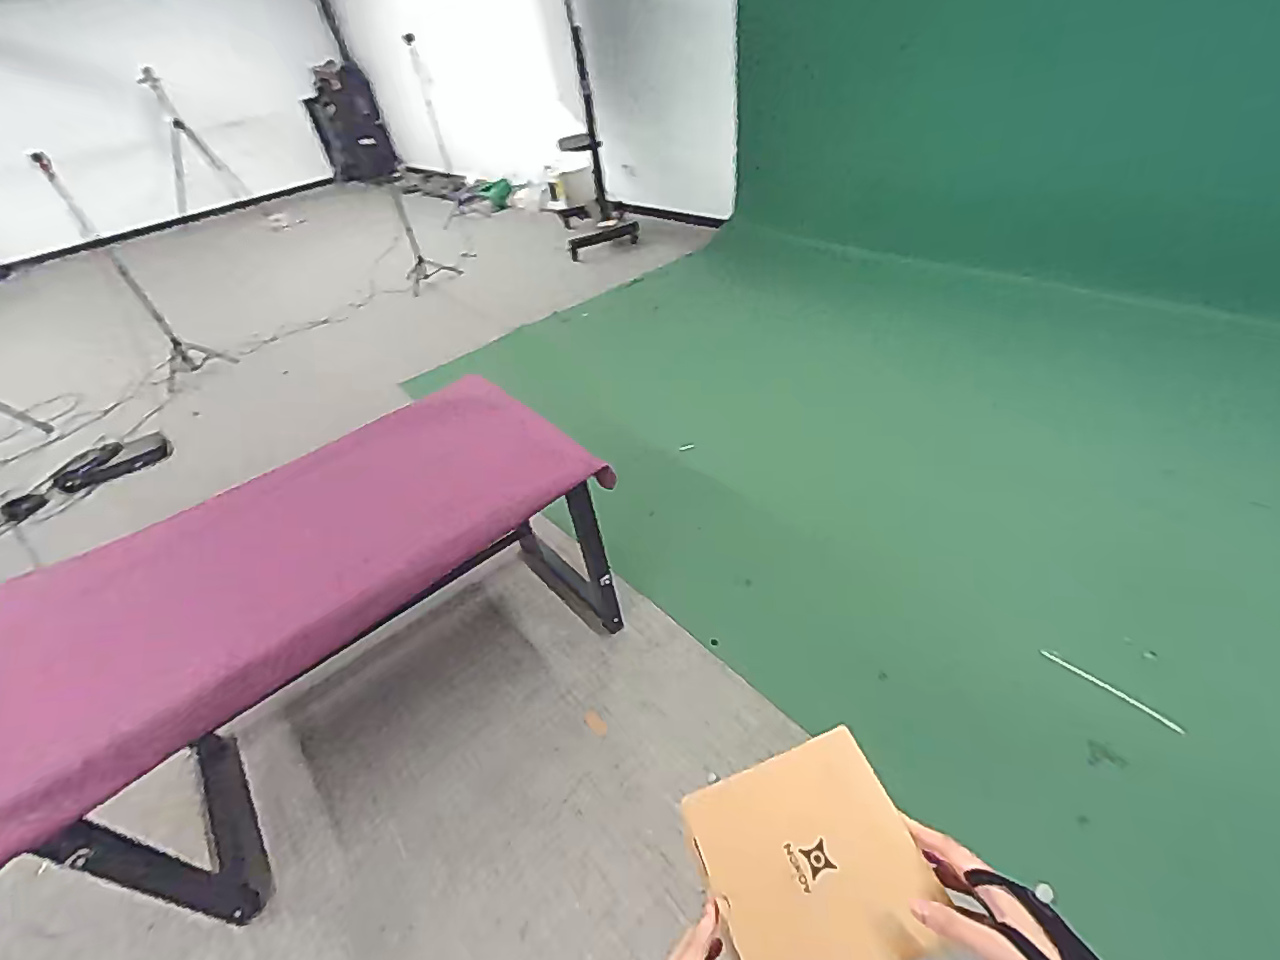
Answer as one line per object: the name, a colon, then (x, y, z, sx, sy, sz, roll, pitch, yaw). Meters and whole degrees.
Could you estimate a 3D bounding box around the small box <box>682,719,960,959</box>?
small box: (0.151, 0.362, 0.519, 0.179, 0.176, 0.168, -20, 51, -9)
